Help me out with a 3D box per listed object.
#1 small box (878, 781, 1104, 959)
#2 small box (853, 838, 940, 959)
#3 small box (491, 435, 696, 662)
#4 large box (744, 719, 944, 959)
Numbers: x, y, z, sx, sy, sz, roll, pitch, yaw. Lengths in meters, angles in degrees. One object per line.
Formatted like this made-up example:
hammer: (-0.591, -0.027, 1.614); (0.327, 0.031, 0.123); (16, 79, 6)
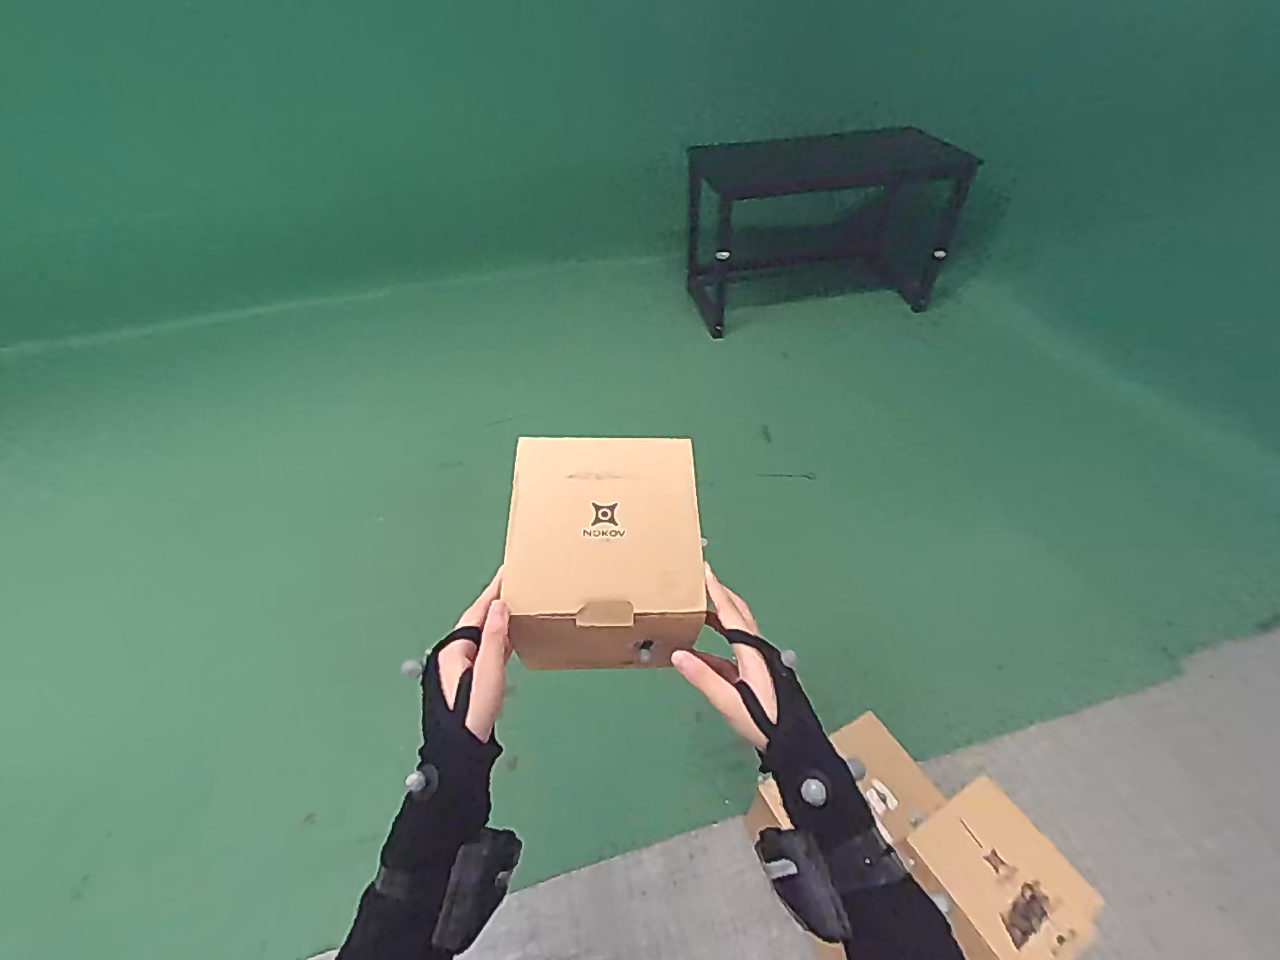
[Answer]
small box: (0.474, 0.571, 0.761); (0.168, 0.176, 0.179); (-22, 47, -18)
small box: (0.481, 0.686, 0.878); (0.168, 0.176, 0.179); (-19, 48, -15)
small box: (-0.040, 0.075, 0.533); (0.168, 0.176, 0.179); (1, 57, -4)
large box: (0.465, 0.799, 1.112); (0.320, 0.320, 0.408); (-22, 47, -19)
